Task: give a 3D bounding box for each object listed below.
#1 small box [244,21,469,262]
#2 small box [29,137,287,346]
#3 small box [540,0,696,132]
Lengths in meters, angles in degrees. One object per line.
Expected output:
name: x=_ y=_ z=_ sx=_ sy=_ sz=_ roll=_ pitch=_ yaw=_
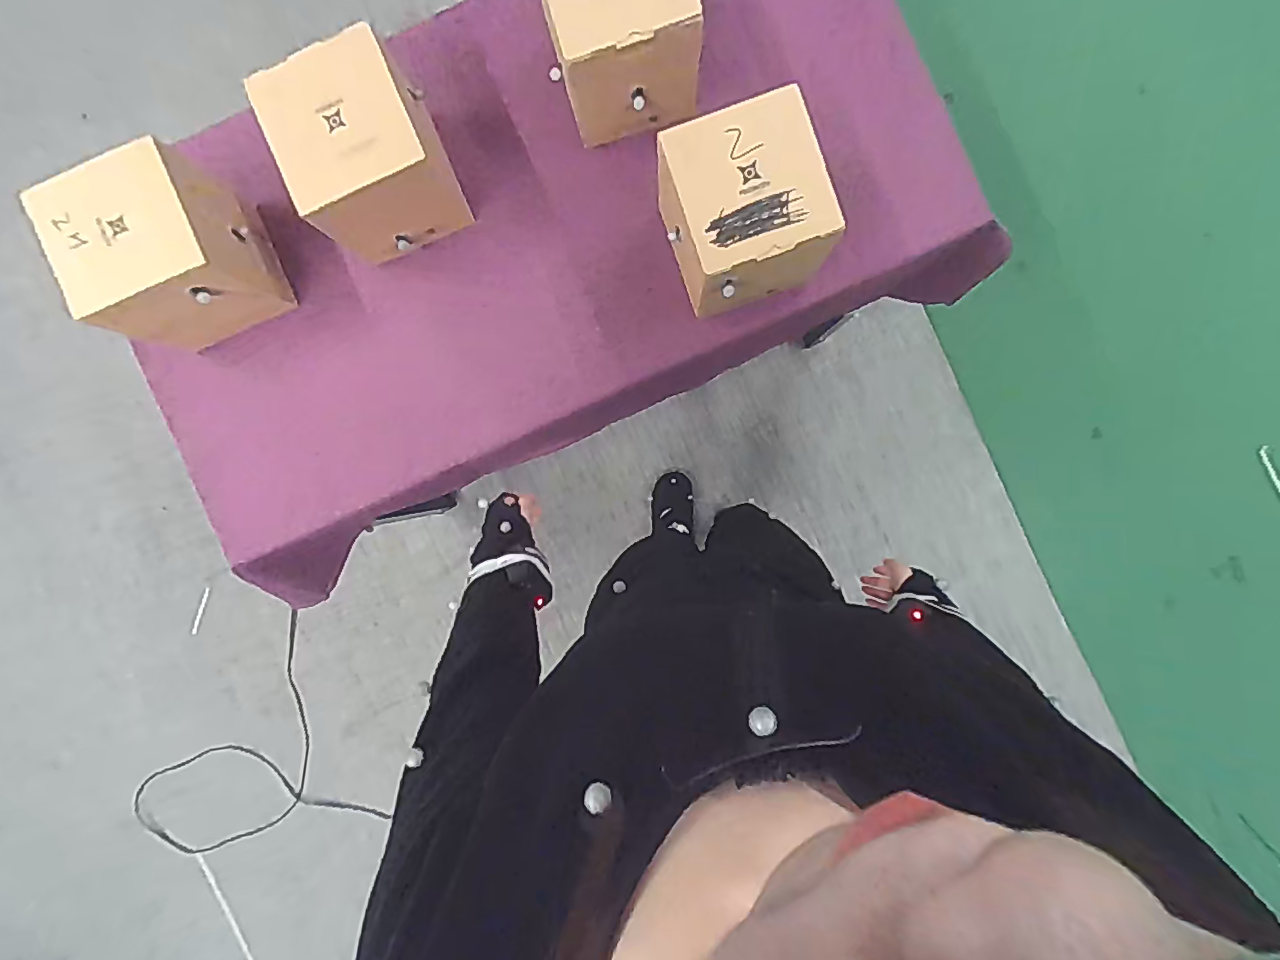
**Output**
small box: x=-0.352 y=-0.422 z=0.706 sx=0.168 sy=0.176 sz=0.179 roll=-23 pitch=90 yaw=3
small box: x=-0.612 y=-0.299 z=0.717 sx=0.179 sy=0.176 sz=0.168 roll=-23 pitch=90 yaw=3
small box: x=-0.033 y=-0.581 z=0.686 sx=0.168 sy=0.176 sz=0.179 roll=-17 pitch=91 yaw=2
